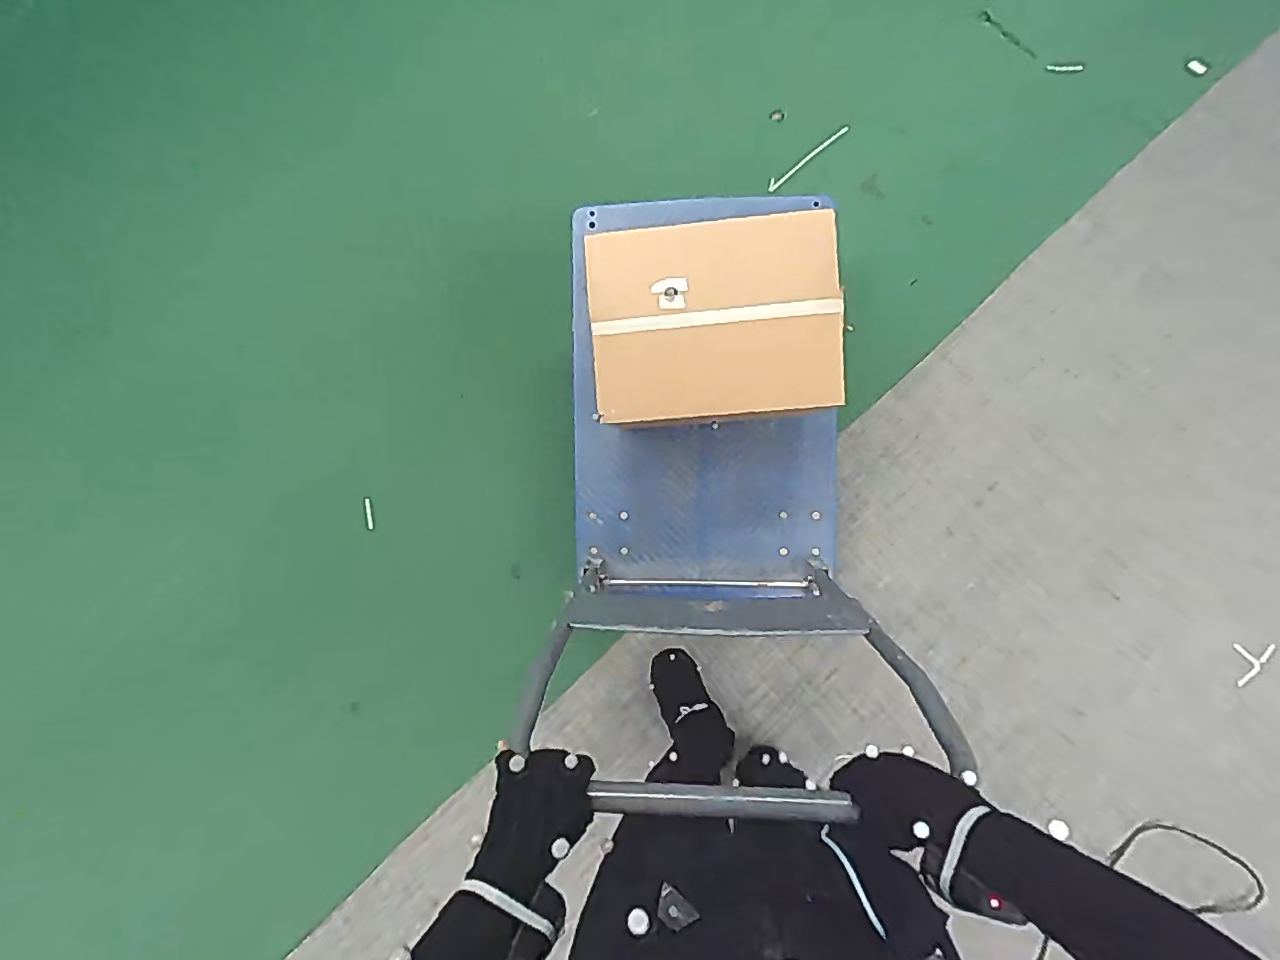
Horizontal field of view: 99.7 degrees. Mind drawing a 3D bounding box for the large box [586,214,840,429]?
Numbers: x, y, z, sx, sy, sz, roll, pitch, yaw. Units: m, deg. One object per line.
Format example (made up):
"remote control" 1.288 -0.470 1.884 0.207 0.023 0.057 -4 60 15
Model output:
"large box" 0.134 -0.271 1.043 0.408 0.320 0.320 -4 93 6
